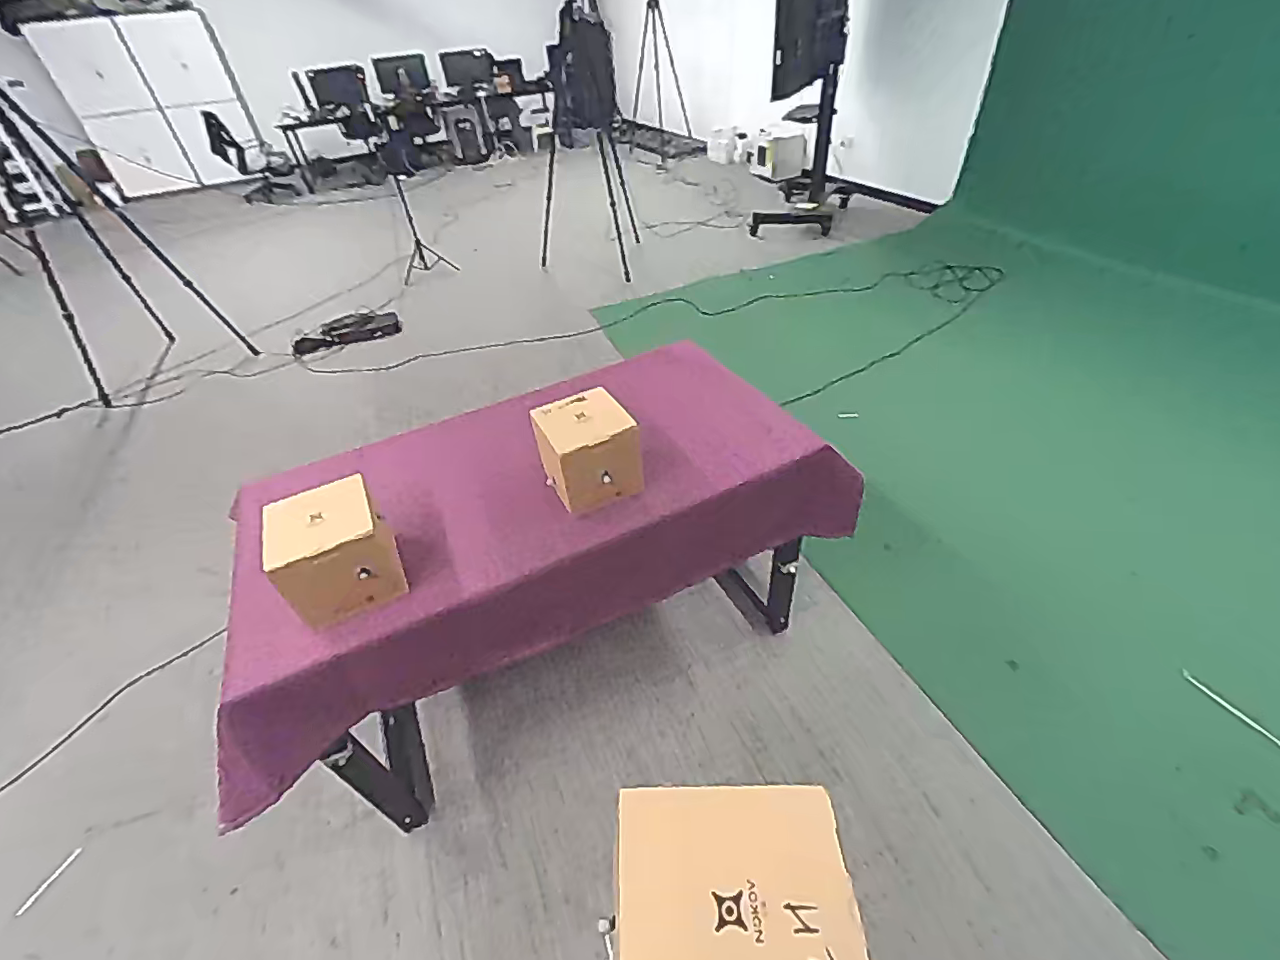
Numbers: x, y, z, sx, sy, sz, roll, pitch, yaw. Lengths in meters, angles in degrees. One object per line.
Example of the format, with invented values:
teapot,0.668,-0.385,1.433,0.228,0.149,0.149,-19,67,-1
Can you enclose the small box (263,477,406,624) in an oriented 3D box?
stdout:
small box,-0.535,0.129,0.959,0.168,0.176,0.179,-22,43,-19

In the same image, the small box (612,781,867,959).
small box,0.065,0.365,0.444,0.179,0.176,0.168,2,44,-4

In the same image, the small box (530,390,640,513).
small box,-0.109,-0.054,1.116,0.168,0.176,0.179,-21,44,-17
